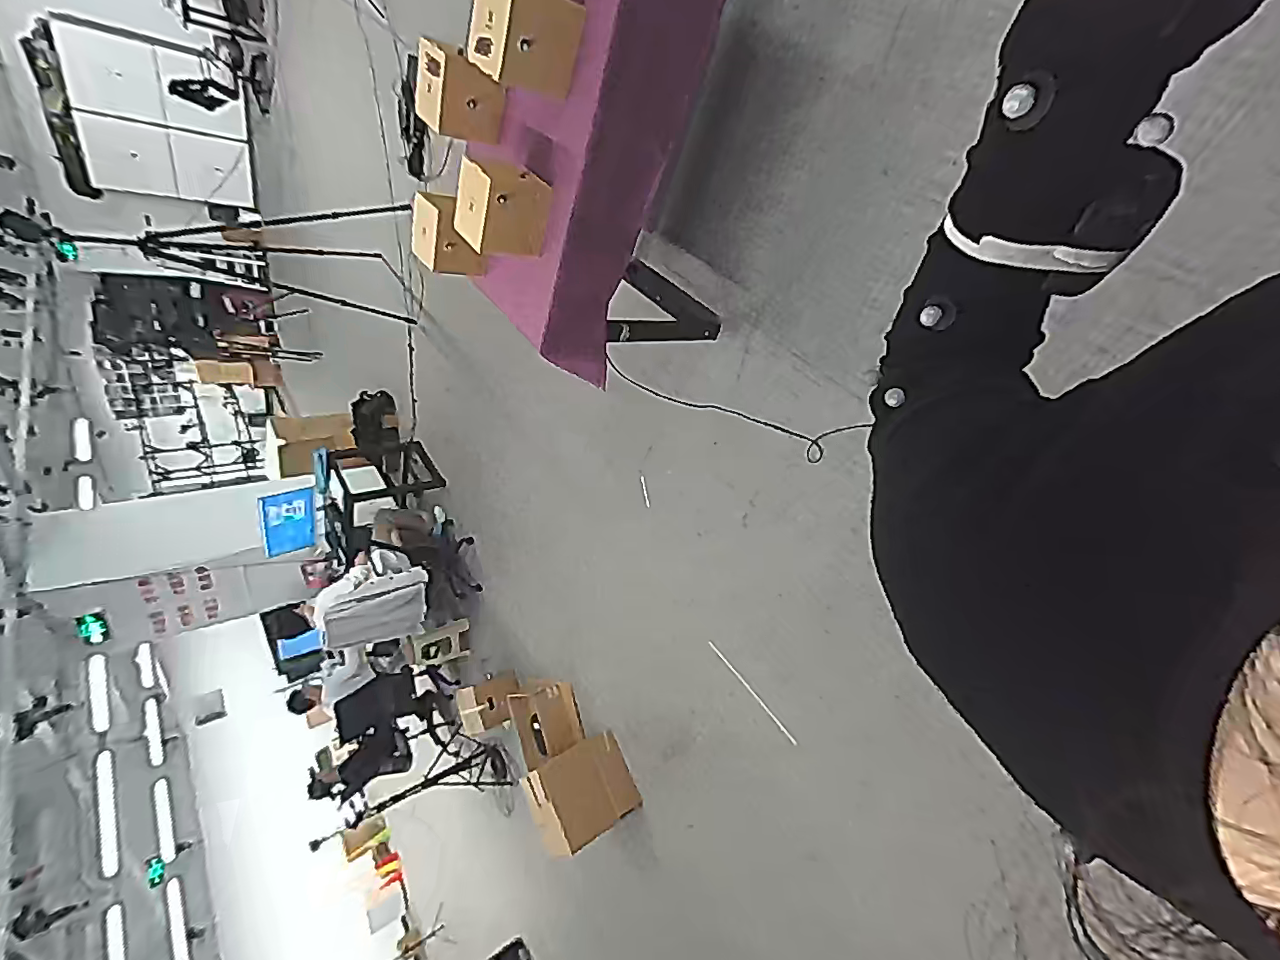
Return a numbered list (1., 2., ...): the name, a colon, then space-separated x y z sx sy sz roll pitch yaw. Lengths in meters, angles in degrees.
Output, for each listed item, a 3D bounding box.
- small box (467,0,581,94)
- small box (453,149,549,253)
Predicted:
1. small box: -0.247 -0.962 1.153 0.168 0.176 0.179 50 133 29
2. small box: -0.346 -0.688 1.351 0.168 0.176 0.179 49 132 30
